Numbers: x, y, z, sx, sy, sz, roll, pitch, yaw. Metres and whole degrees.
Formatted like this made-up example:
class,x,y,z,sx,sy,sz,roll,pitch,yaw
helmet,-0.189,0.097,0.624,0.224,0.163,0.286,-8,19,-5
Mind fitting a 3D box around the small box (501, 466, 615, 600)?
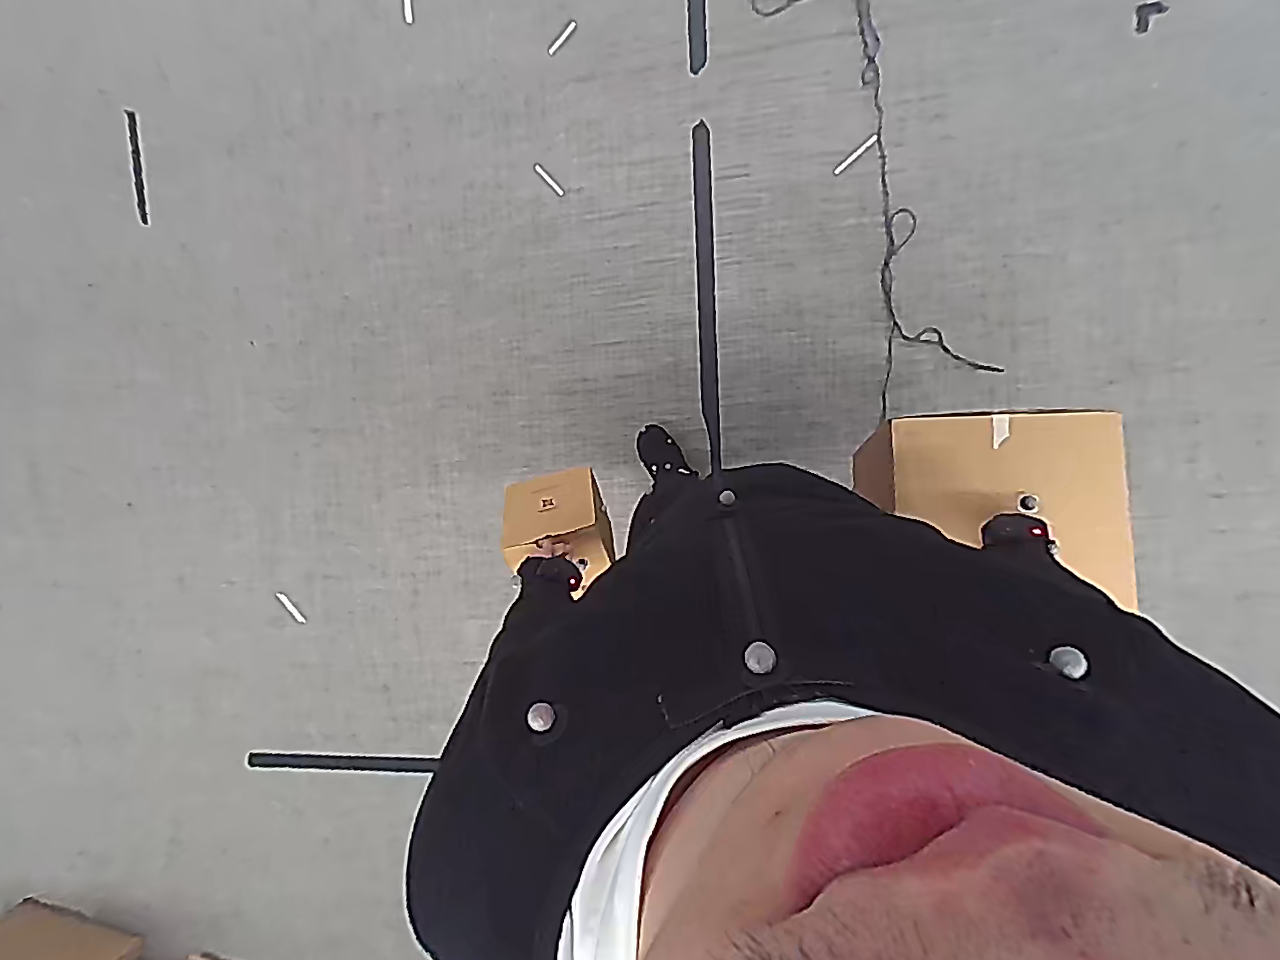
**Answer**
class,x,y,z,sx,sy,sz,roll,pitch,yaw
small box,-0.149,0.105,1.015,0.168,0.179,0.176,-14,128,1
